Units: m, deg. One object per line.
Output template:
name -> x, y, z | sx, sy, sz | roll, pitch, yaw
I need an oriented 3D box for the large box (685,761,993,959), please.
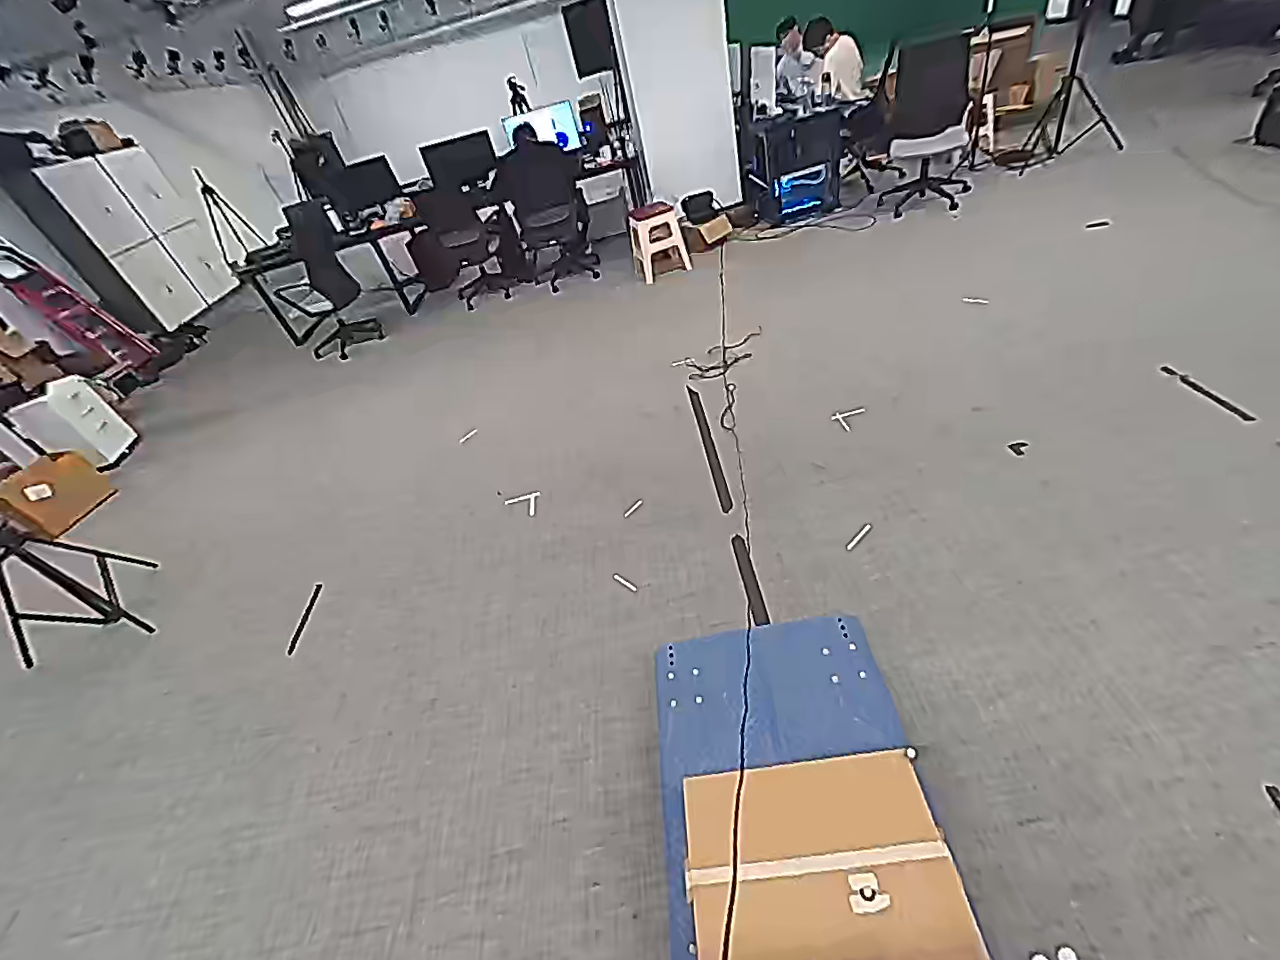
large box -> 0.312, 0.733, 0.929 | 0.408, 0.320, 0.320 | -11, 39, 7
